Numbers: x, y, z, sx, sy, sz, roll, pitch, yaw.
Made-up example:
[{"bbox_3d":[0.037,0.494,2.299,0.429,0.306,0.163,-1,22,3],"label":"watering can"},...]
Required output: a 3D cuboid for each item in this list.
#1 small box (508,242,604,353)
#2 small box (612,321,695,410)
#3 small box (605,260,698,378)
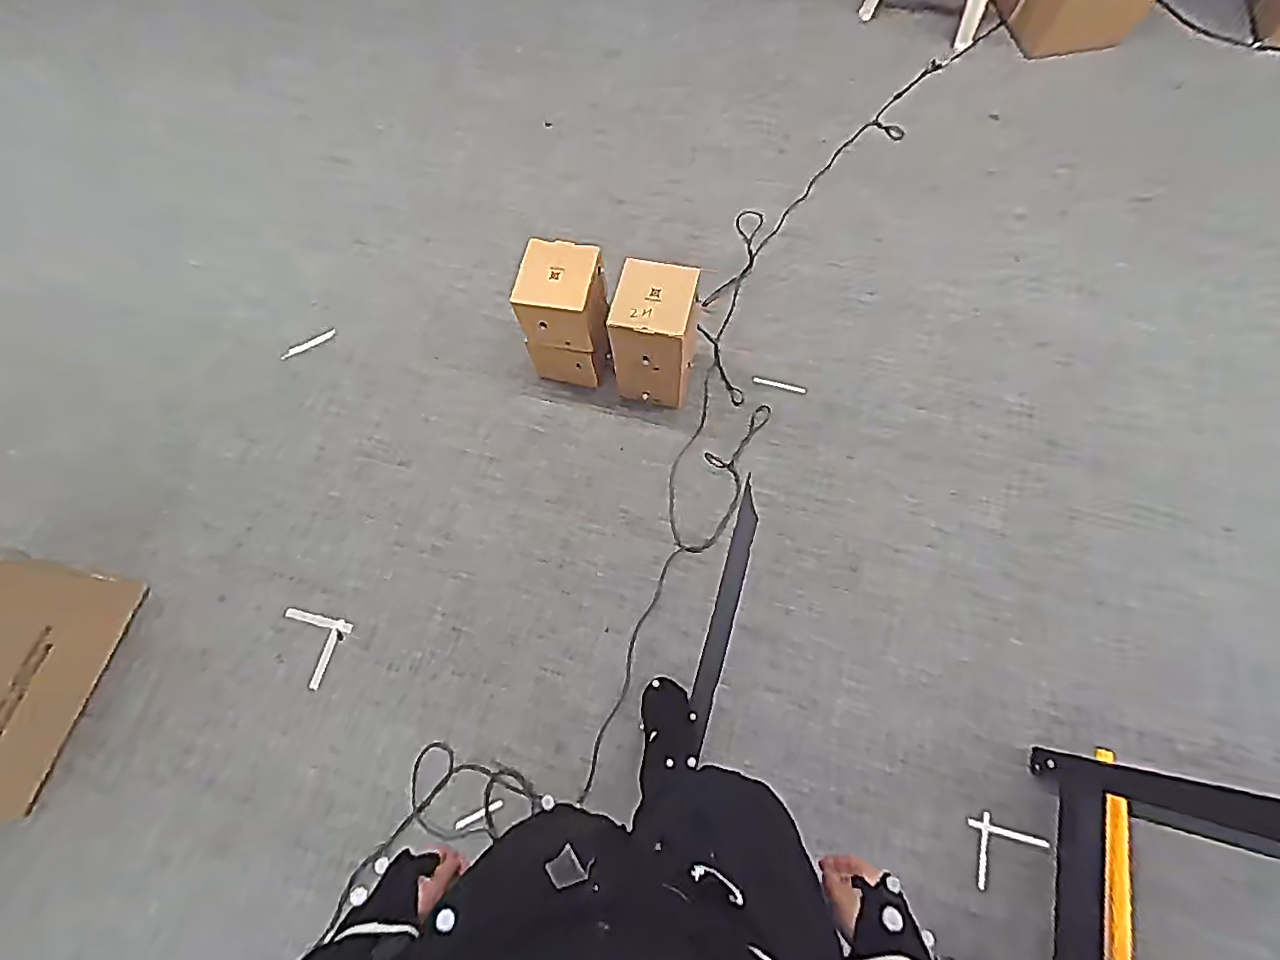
[{"bbox_3d":[-0.184,-0.416,1.254,0.168,0.176,0.179,9,71,7],"label":"small box"},{"bbox_3d":[0.037,-0.304,1.374,0.168,0.176,0.179,14,73,8],"label":"small box"},{"bbox_3d":[0.029,-0.357,1.218,0.168,0.176,0.179,12,73,8],"label":"small box"}]
